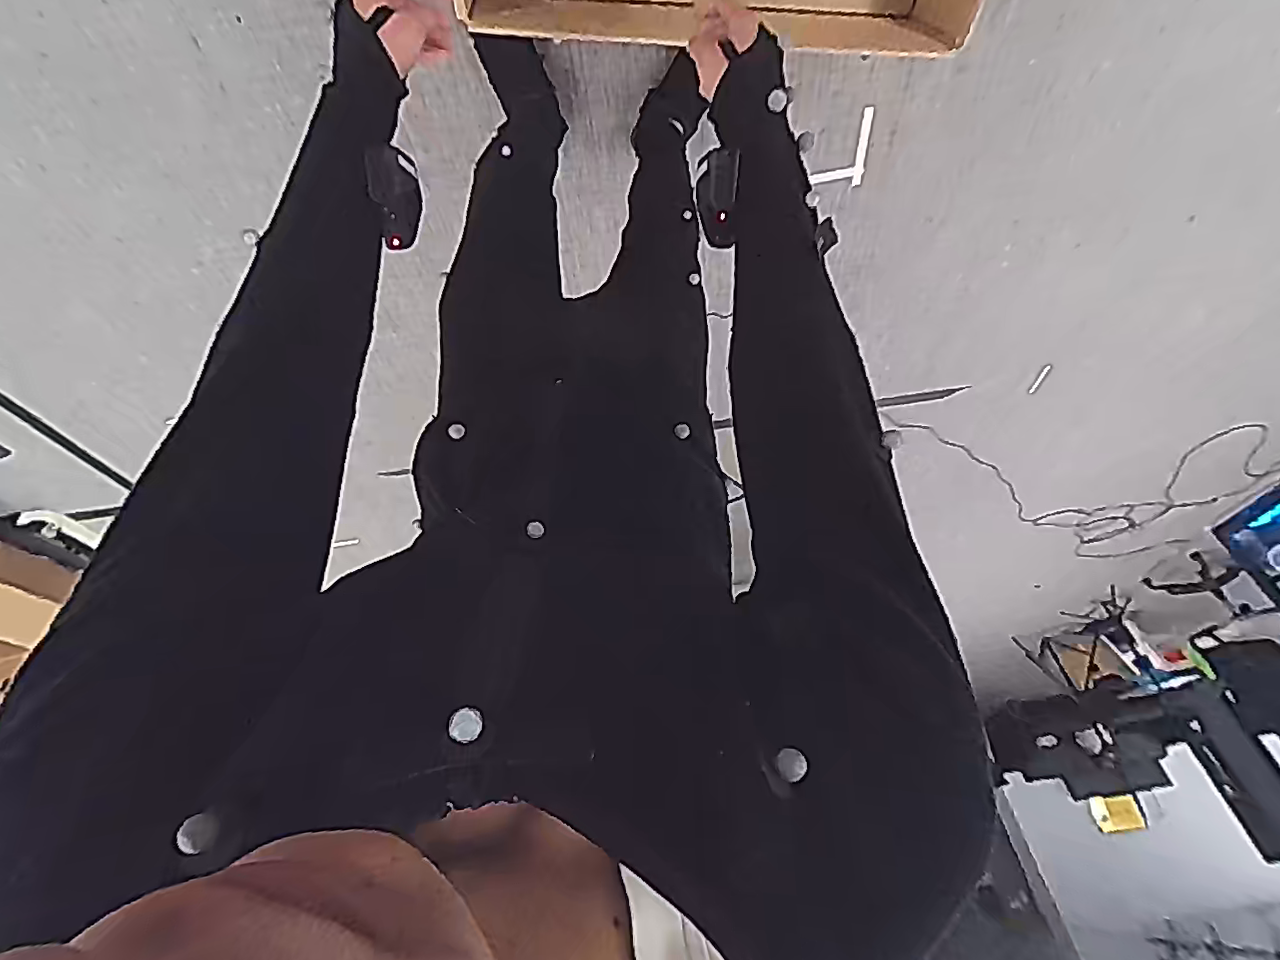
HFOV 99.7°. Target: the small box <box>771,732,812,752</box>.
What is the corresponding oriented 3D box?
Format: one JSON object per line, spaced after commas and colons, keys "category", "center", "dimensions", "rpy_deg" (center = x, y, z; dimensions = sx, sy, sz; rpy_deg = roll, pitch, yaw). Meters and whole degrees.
{"category": "small box", "center": [0.710, 1.189, 2.595], "dimensions": [0.168, 0.176, 0.179], "rpy_deg": [-8, 142, -1]}
